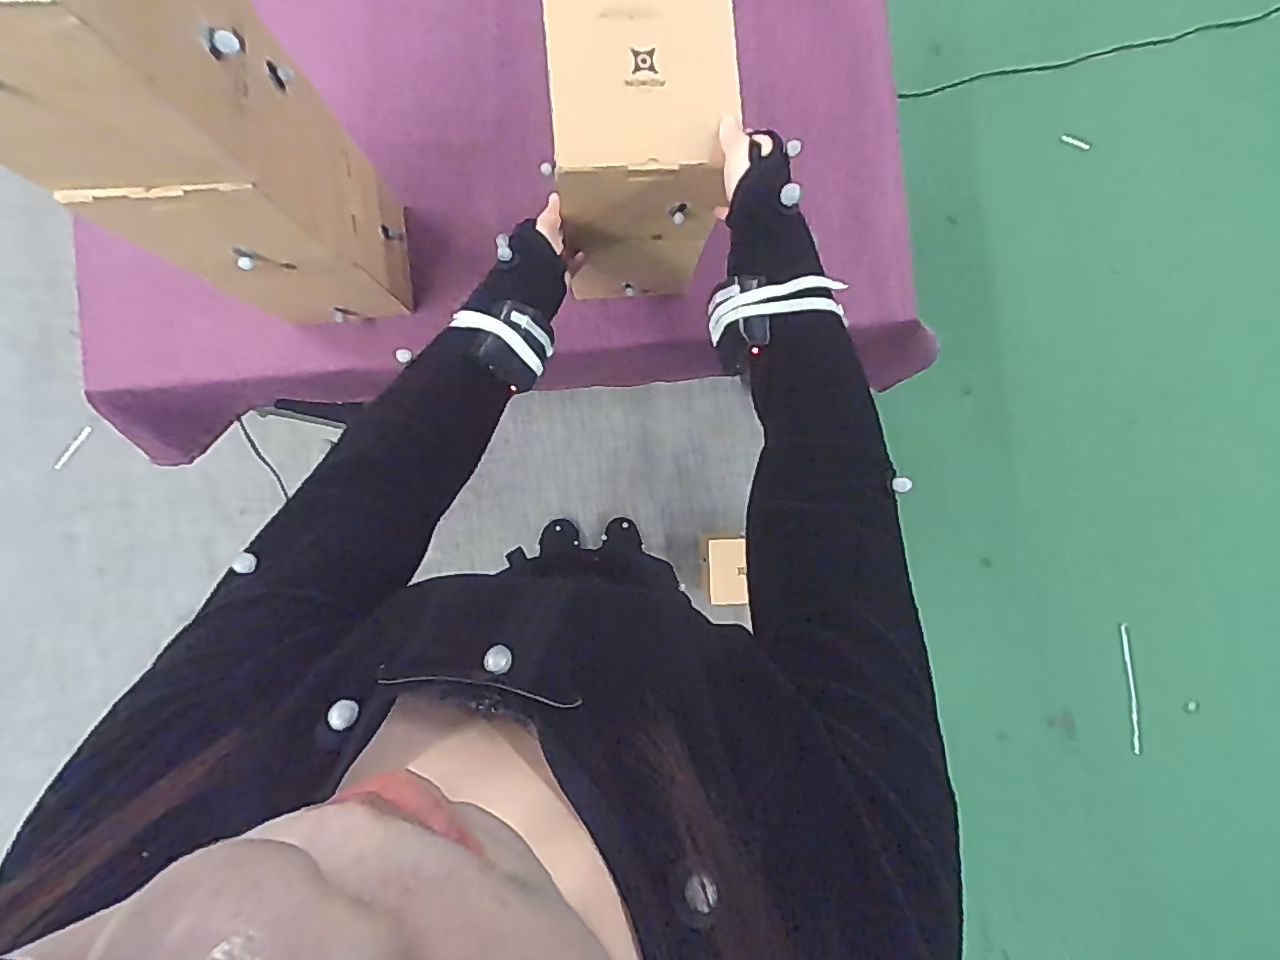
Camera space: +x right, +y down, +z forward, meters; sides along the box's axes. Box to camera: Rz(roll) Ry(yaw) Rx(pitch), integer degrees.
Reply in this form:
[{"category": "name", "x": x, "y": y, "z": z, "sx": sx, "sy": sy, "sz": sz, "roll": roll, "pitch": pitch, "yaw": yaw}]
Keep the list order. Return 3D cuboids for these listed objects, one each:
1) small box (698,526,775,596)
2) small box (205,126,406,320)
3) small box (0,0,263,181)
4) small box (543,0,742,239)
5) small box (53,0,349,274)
[{"category": "small box", "x": 0.250, "y": 0.213, "z": 1.449, "sx": 0.179, "sy": 0.176, "sz": 0.168, "roll": -2, "pitch": 90, "yaw": -3}, {"category": "small box", "x": -0.419, "y": -0.318, "z": 0.698, "sx": 0.179, "sy": 0.176, "sz": 0.168, "roll": -7, "pitch": 89, "yaw": -3}, {"category": "small box", "x": -0.402, "y": -0.329, "z": 0.369, "sx": 0.179, "sy": 0.176, "sz": 0.168, "roll": -4, "pitch": 89, "yaw": -3}, {"category": "small box", "x": -0.005, "y": -0.358, "z": 0.544, "sx": 0.168, "sy": 0.176, "sz": 0.179, "roll": -5, "pitch": 92, "yaw": -7}, {"category": "small box", "x": -0.413, "y": -0.325, "z": 0.533, "sx": 0.168, "sy": 0.176, "sz": 0.179, "roll": -5, "pitch": 90, "yaw": -2}]
